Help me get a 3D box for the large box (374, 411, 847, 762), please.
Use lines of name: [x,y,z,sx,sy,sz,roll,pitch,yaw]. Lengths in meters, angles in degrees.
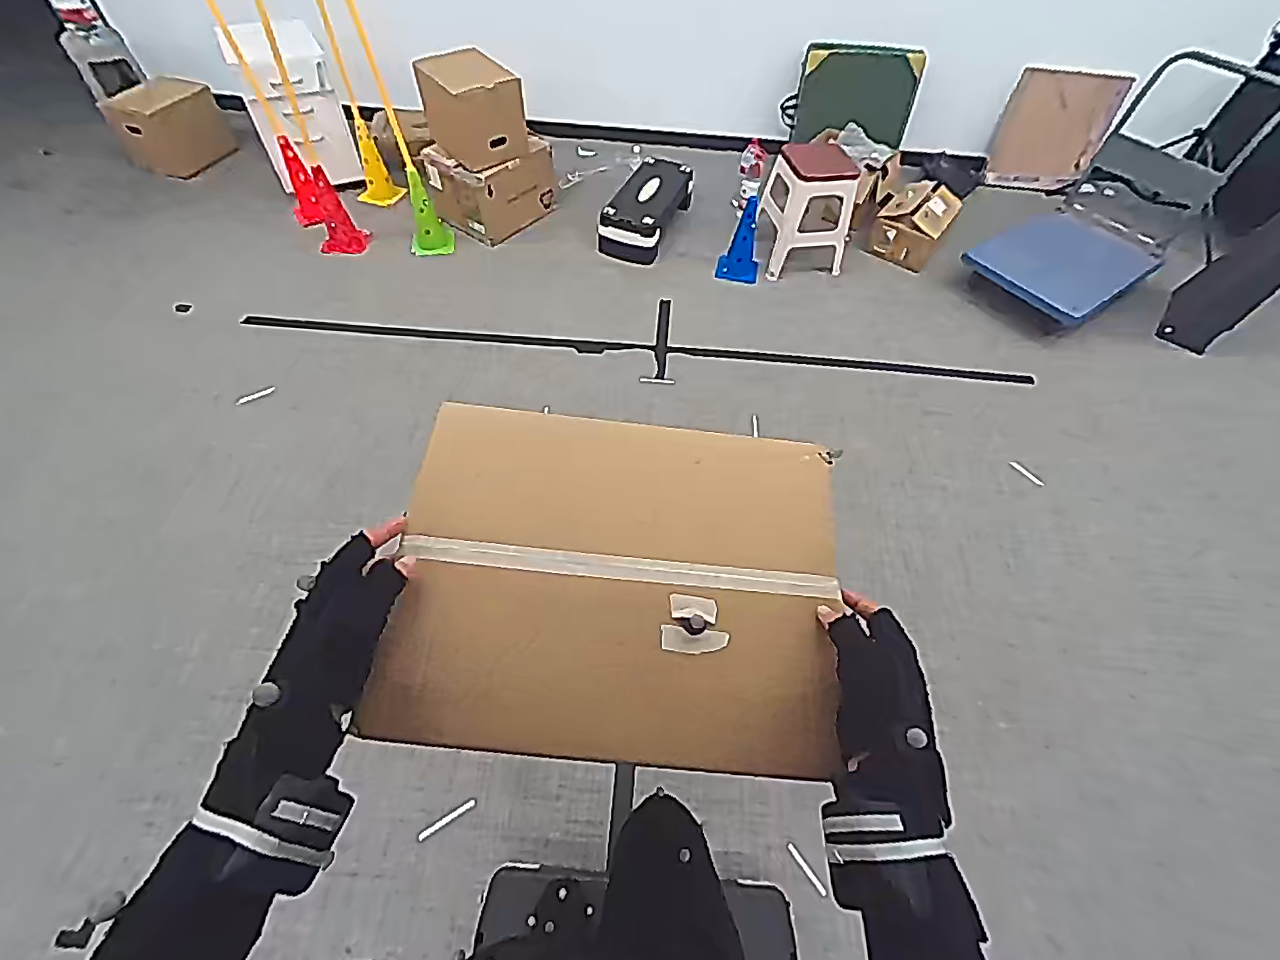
large box: [-0.025,0.146,0.644,0.408,0.320,0.320,6,65,-2]
